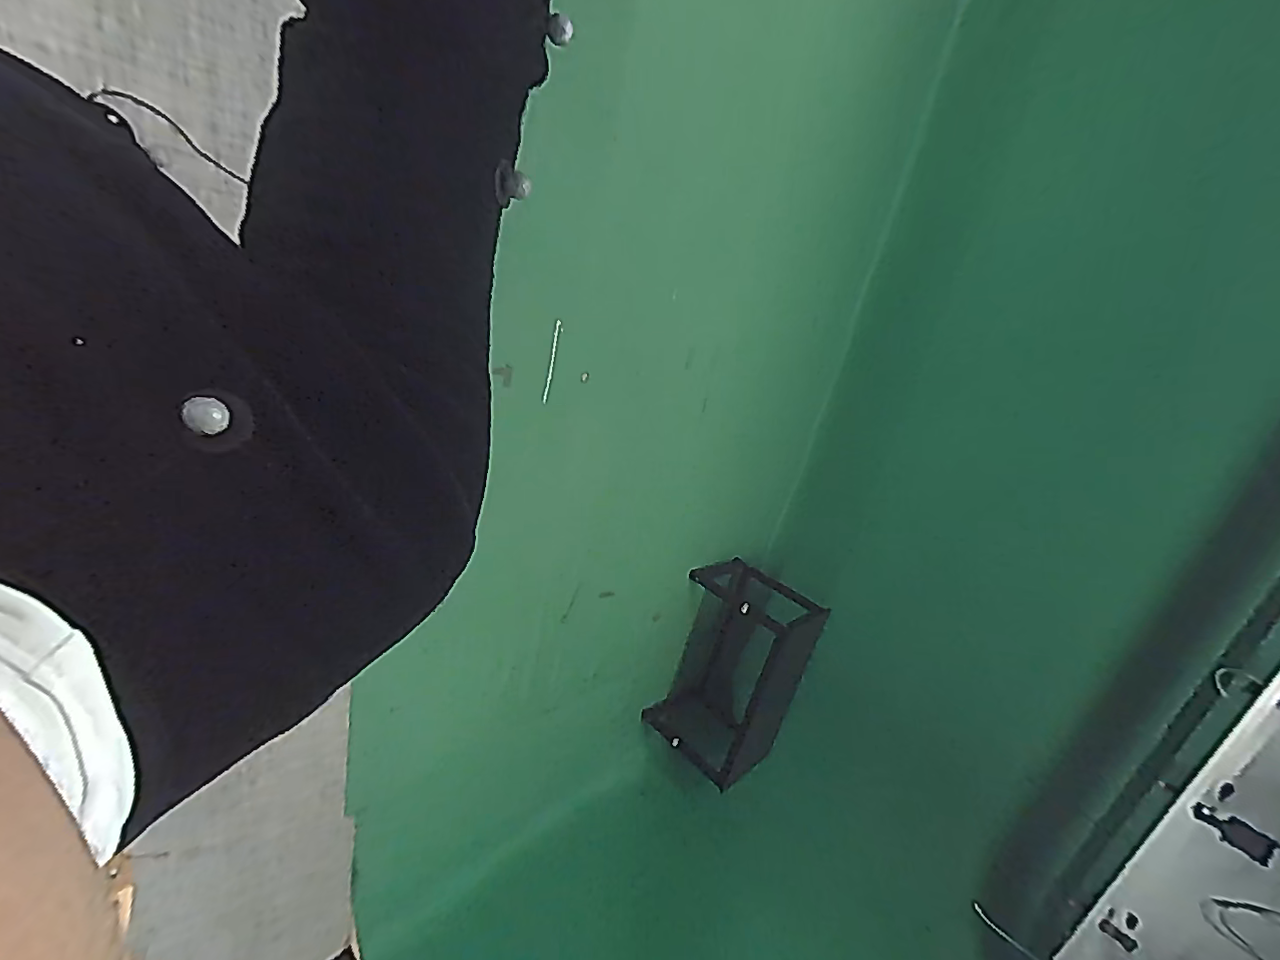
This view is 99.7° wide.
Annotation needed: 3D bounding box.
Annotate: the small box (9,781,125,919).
[{"bbox_3d":[-1.353,0.860,1.277,0.179,0.176,0.168,2,112,-50],"label":"small box"}]
